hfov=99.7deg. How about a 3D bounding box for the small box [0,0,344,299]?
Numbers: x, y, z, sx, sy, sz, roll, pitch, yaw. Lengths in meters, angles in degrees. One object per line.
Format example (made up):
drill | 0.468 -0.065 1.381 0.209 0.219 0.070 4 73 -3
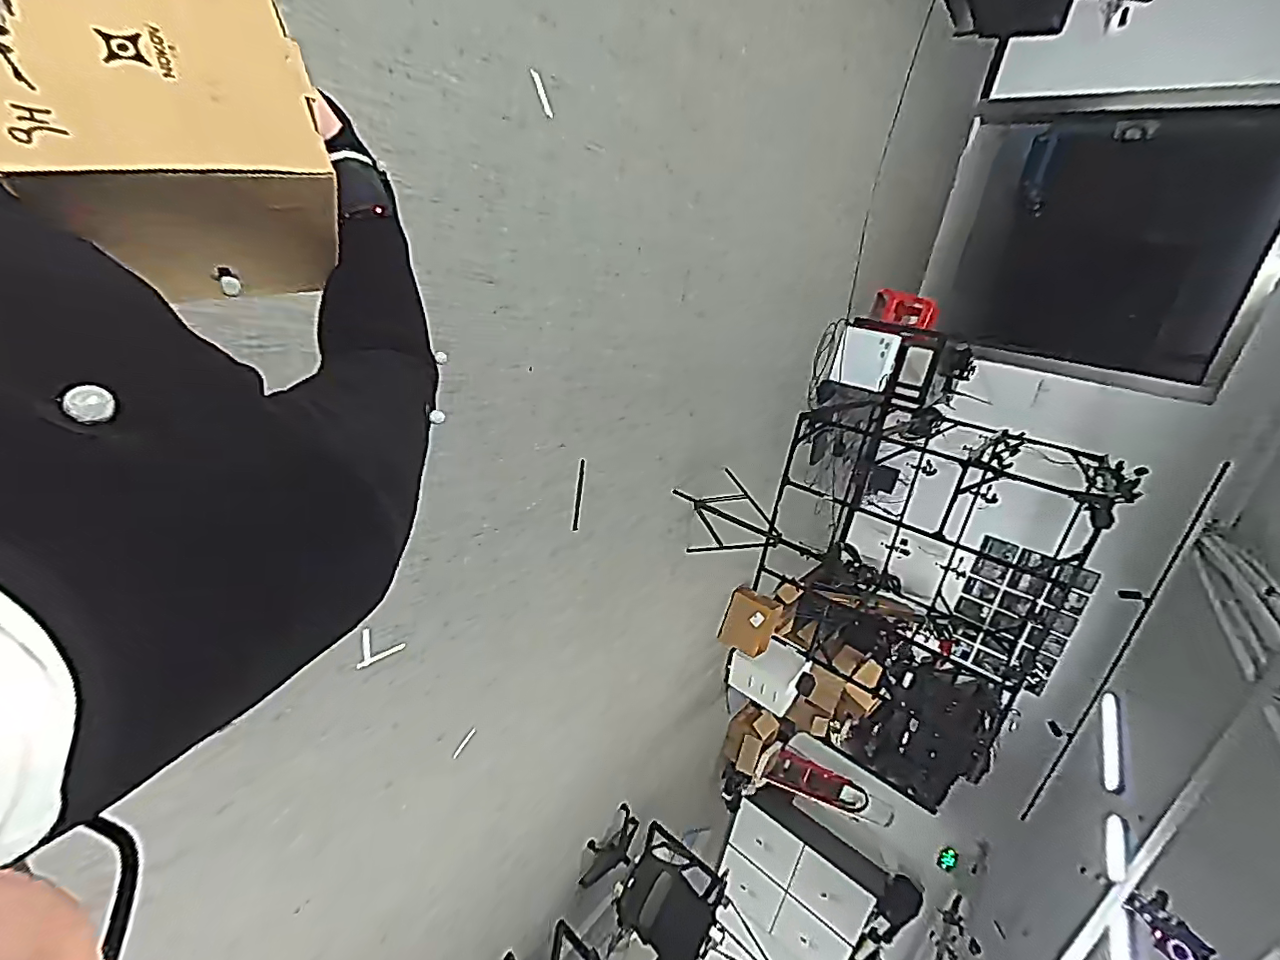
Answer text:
small box | -0.355 -0.262 0.428 0.179 0.176 0.168 -19 88 -31
